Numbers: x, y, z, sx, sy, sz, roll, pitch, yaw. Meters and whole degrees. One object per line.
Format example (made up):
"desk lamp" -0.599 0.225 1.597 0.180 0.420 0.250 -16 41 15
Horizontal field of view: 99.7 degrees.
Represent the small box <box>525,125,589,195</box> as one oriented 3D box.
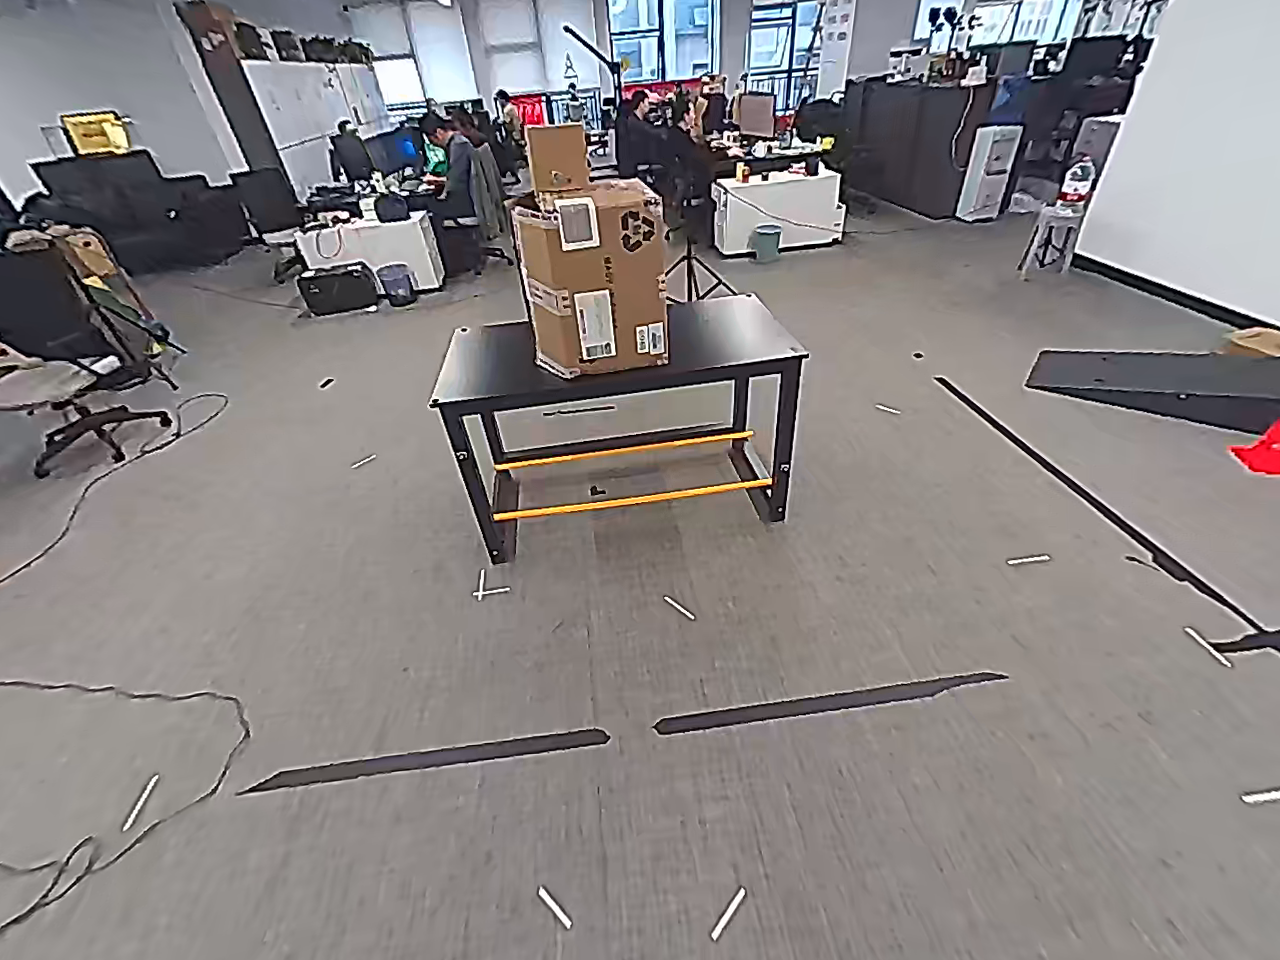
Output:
"small box" -0.253 -0.974 1.643 0.168 0.176 0.179 -11 36 -8
